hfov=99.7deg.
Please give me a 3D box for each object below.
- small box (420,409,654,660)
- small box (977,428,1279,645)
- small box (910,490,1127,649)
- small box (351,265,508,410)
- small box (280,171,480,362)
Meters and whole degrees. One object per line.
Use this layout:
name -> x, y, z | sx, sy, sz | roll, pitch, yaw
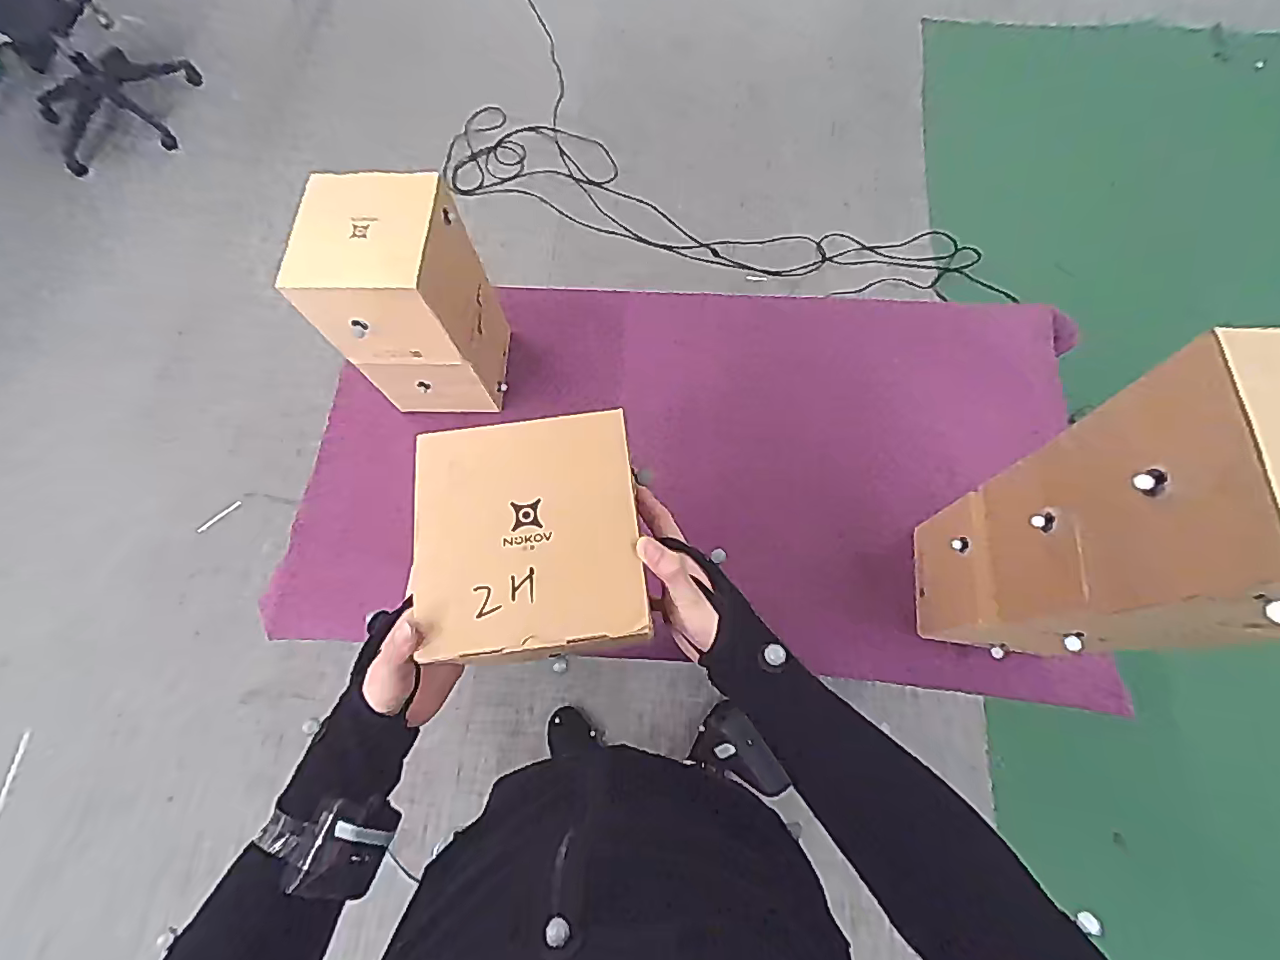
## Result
small box -> -0.079, 0.059, 0.481 | 0.168, 0.176, 0.179 | -7, 71, 0
small box -> 0.478, 0.067, 0.563 | 0.168, 0.176, 0.179 | 7, 71, 7
small box -> 0.482, 0.126, 0.714 | 0.179, 0.176, 0.168 | 7, 70, 5
small box -> -0.322, -0.222, 0.869 | 0.179, 0.176, 0.168 | 0, 71, 3
small box -> -0.324, -0.271, 0.714 | 0.168, 0.176, 0.179 | 1, 70, 3
